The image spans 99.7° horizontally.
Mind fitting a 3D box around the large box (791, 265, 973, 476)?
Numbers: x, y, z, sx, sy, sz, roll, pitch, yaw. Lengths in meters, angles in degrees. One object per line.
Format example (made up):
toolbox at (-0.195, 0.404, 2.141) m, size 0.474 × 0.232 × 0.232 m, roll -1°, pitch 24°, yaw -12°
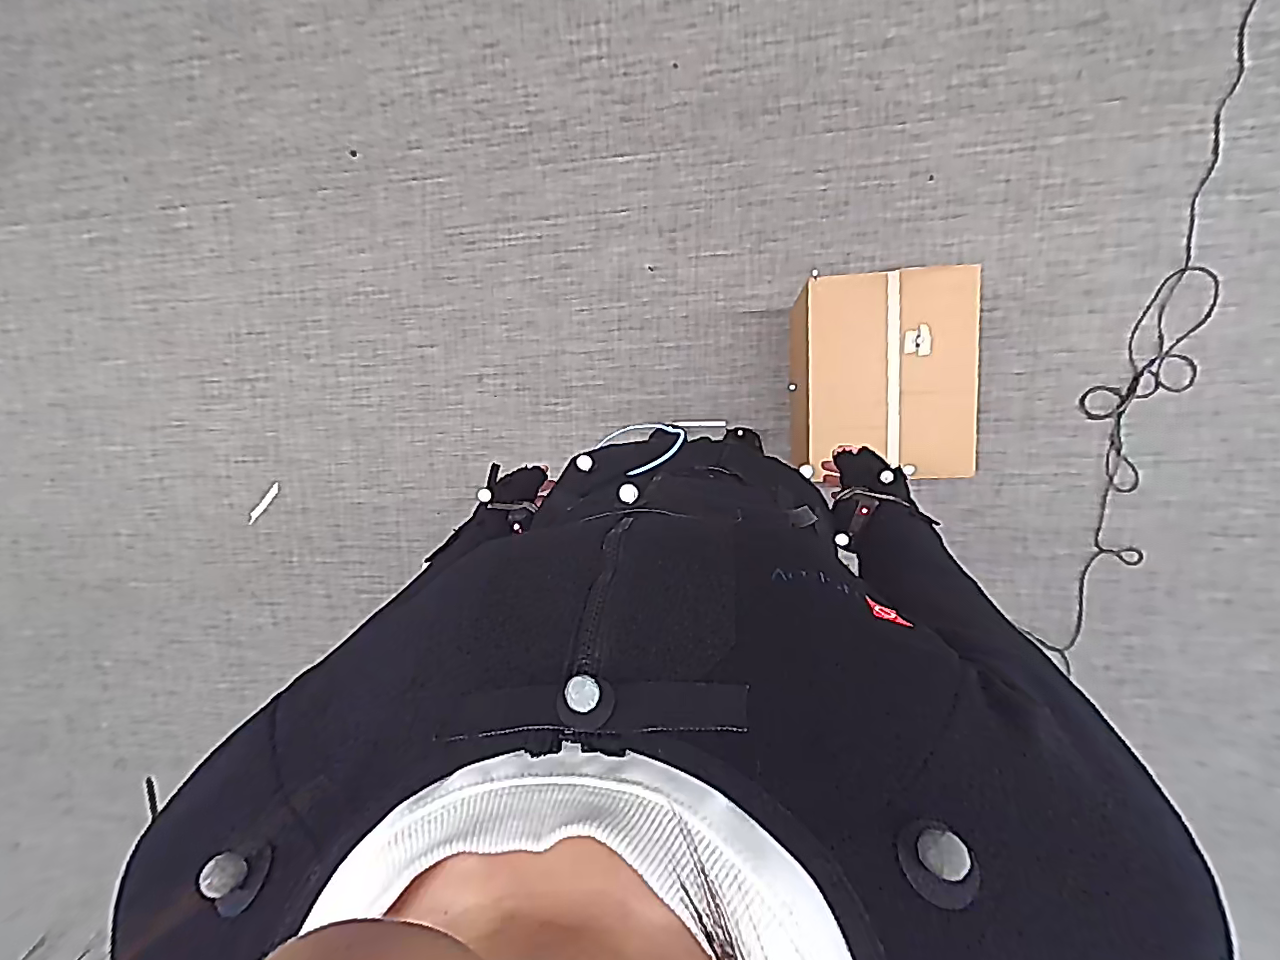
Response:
large box at (0.517, -0.223, 1.218) m, size 0.320 × 0.320 × 0.408 m, roll -1°, pitch 95°, yaw 8°
